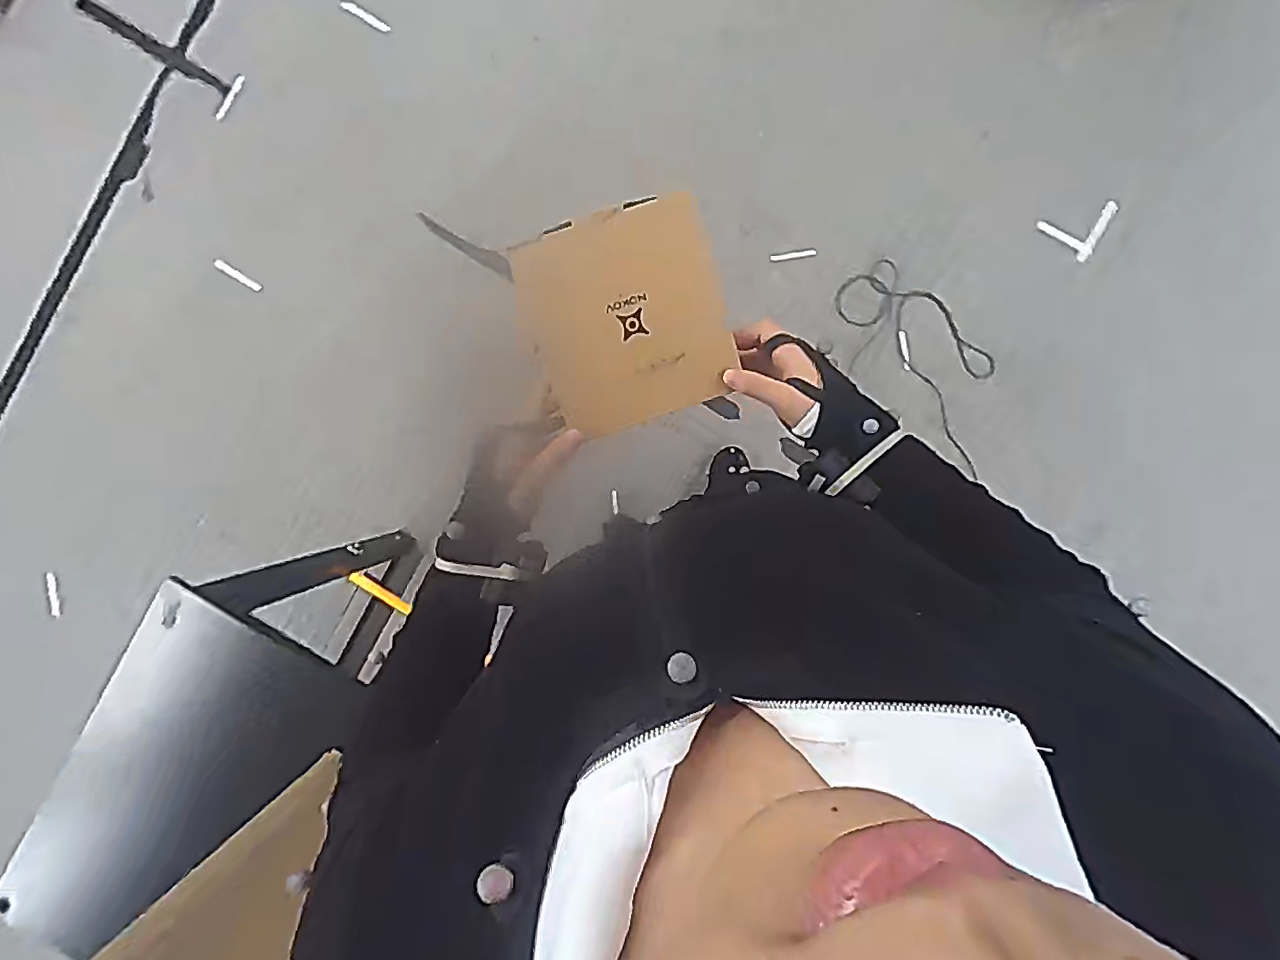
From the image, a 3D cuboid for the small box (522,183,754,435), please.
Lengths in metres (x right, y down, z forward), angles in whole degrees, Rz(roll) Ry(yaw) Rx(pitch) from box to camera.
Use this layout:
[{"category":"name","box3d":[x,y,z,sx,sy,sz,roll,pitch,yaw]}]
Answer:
[{"category":"small box","box3d":[-0.006,-0.160,0.539,0.168,0.176,0.179,-17,105,-1]}]
